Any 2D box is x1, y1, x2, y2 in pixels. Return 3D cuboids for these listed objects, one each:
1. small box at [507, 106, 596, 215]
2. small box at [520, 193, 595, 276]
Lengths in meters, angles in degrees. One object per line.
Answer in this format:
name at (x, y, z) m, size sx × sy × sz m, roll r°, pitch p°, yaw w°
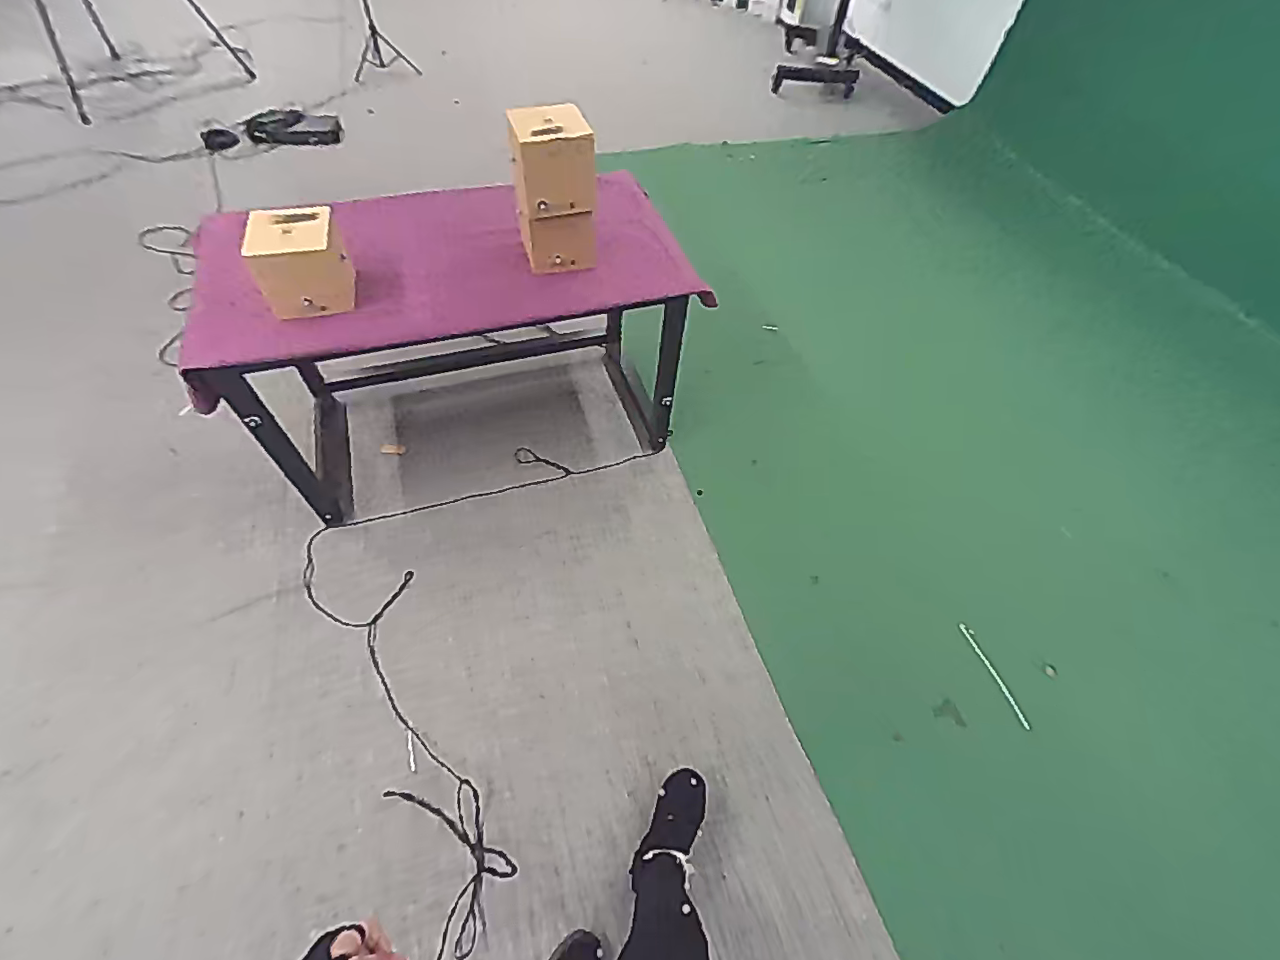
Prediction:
small box at (-0.202, -0.737, 1.260) m, size 0.168 × 0.176 × 0.179 m, roll -14°, pitch 55°, yaw -12°
small box at (-0.215, -0.658, 1.404) m, size 0.168 × 0.176 × 0.179 m, roll -12°, pitch 57°, yaw -11°
